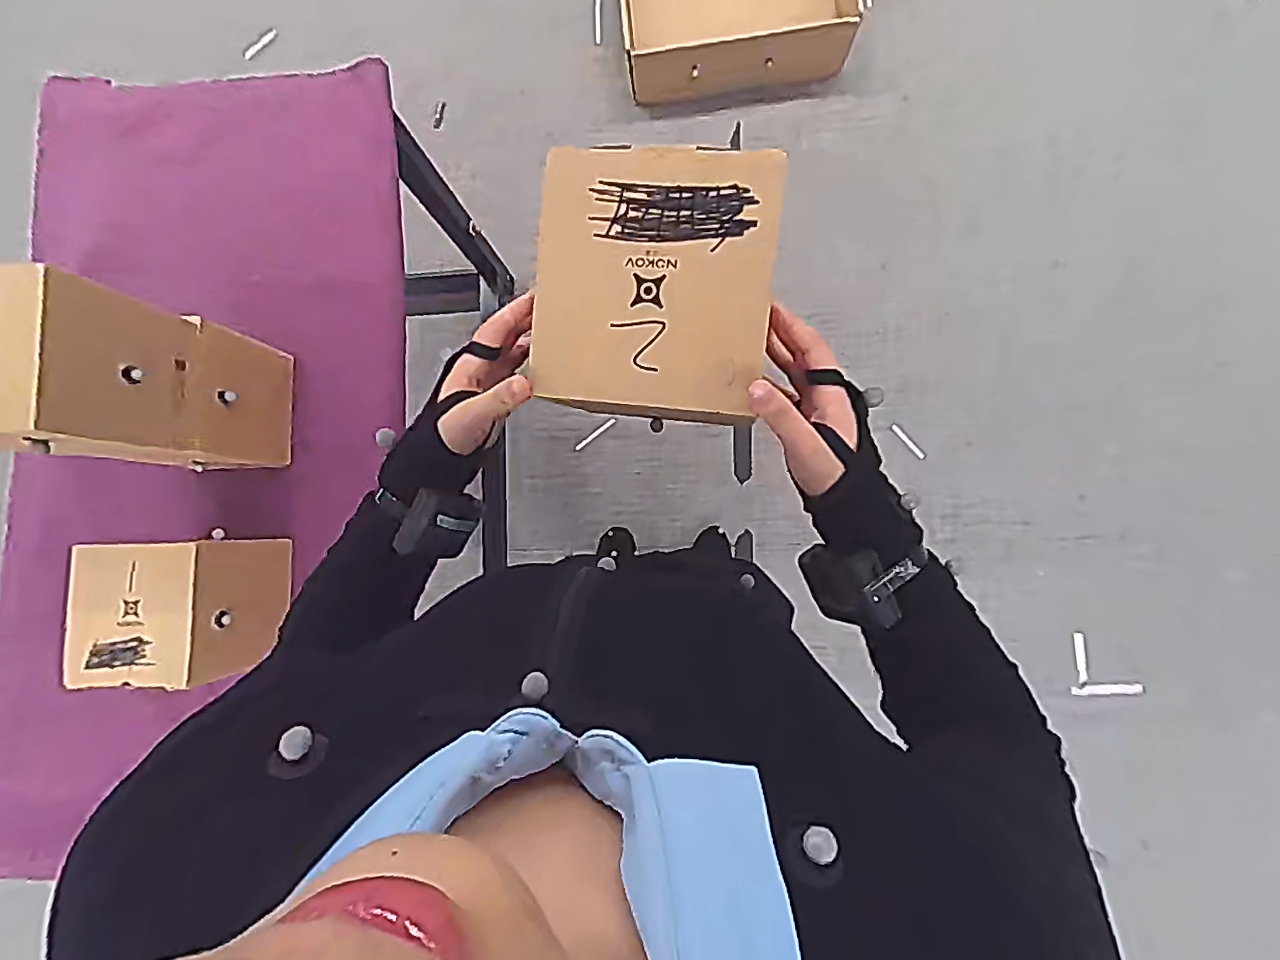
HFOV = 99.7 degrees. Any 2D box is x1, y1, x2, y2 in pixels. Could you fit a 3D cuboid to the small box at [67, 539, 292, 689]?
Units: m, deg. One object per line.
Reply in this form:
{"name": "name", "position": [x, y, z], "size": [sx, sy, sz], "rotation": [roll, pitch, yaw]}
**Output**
{"name": "small box", "position": [-0.608, 0.171, 0.736], "size": [0.168, 0.176, 0.179], "rotation": [-2, 84, 4]}

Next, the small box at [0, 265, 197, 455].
{"name": "small box", "position": [-0.642, -0.120, 0.599], "size": [0.179, 0.176, 0.168], "rotation": [-1, 85, 5]}

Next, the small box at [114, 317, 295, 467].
{"name": "small box", "position": [-0.622, -0.114, 0.763], "size": [0.168, 0.176, 0.179], "rotation": [-1, 86, 4]}
